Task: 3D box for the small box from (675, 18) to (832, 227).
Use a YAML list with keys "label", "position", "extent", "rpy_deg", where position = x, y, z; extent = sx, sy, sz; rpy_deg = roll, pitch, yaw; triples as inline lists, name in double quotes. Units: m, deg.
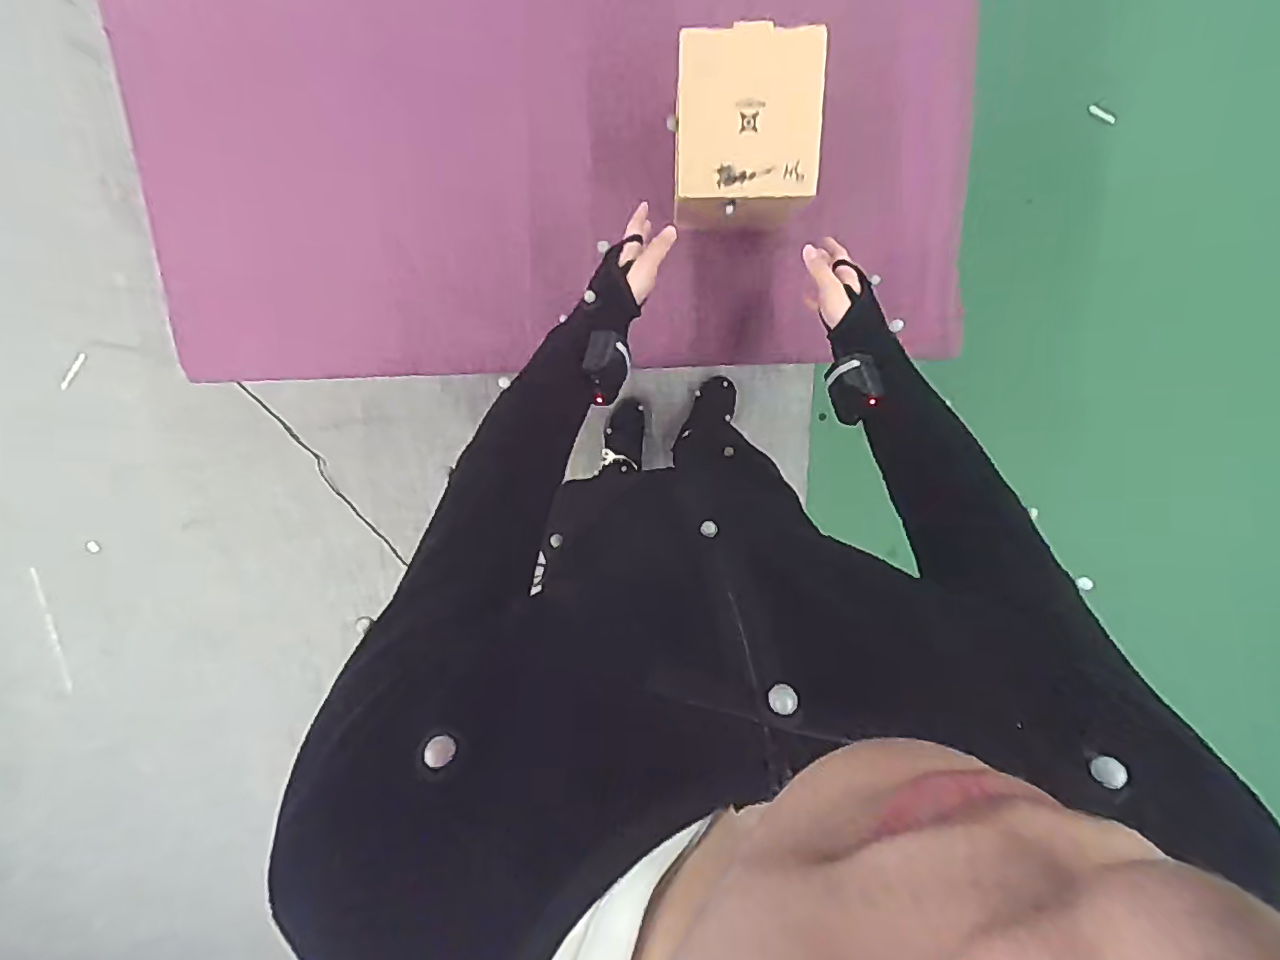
- label: "small box"
  position: [0.130, -0.435, 0.685]
  extent: [0.168, 0.176, 0.179]
  rpy_deg: [1, 103, 3]
